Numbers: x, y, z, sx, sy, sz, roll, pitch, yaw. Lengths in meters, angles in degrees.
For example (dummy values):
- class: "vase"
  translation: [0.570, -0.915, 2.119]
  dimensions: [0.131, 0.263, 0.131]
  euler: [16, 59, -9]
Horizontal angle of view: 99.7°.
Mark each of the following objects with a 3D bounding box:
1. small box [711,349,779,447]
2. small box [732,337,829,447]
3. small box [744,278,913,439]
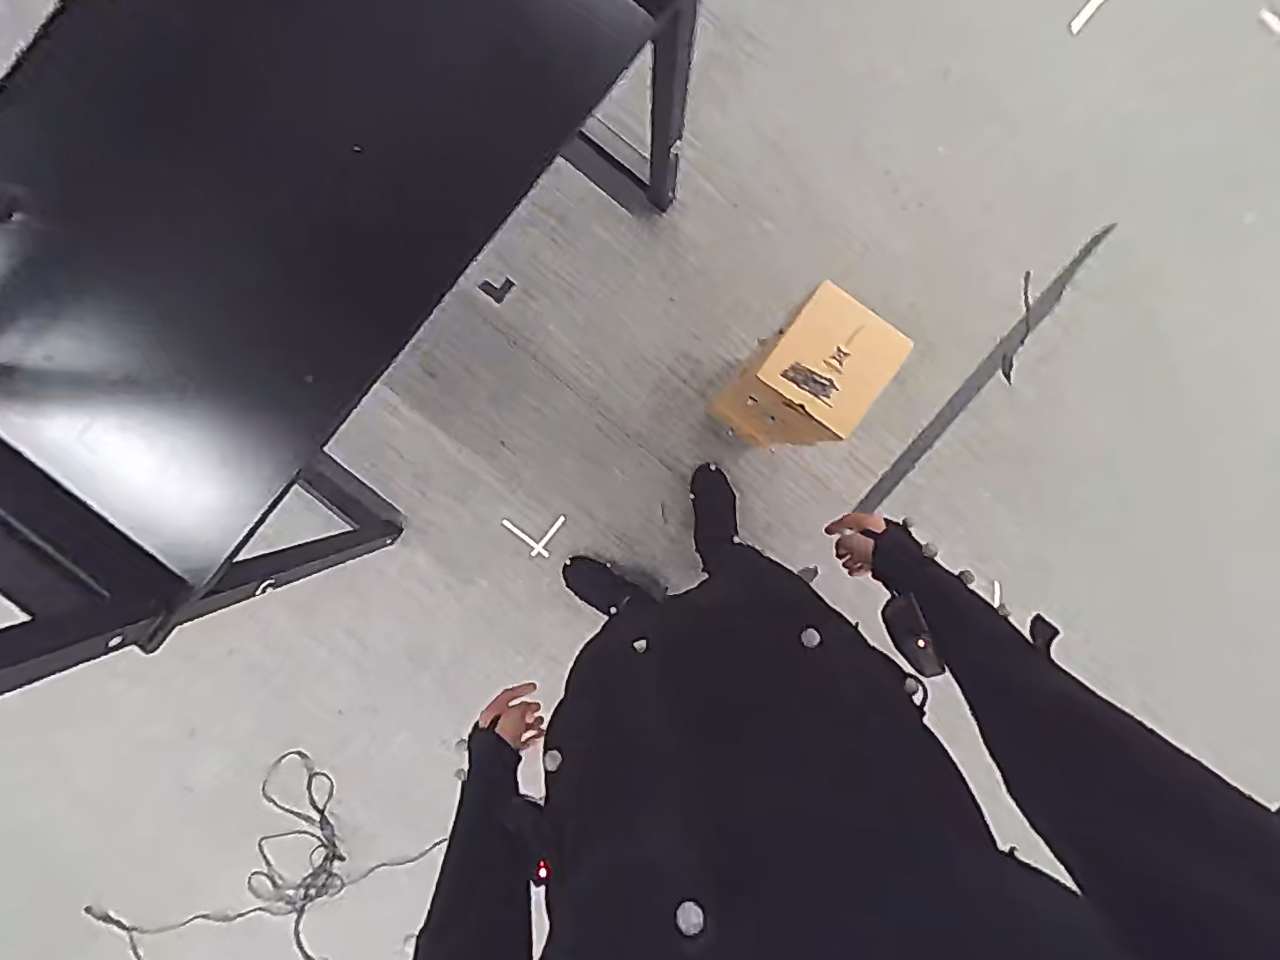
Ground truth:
- class: "small box"
  translation: [0.293, -0.198, 1.352]
  dimensions: [0.168, 0.176, 0.179]
  euler: [37, 93, -1]
- class: "small box"
  translation: [0.299, -0.180, 1.025]
  dimensions: [0.179, 0.176, 0.168]
  euler: [36, 93, -2]
- class: "small box"
  translation: [0.283, -0.179, 0.861]
  dimensions: [0.168, 0.176, 0.179]
  euler: [35, 92, -2]
